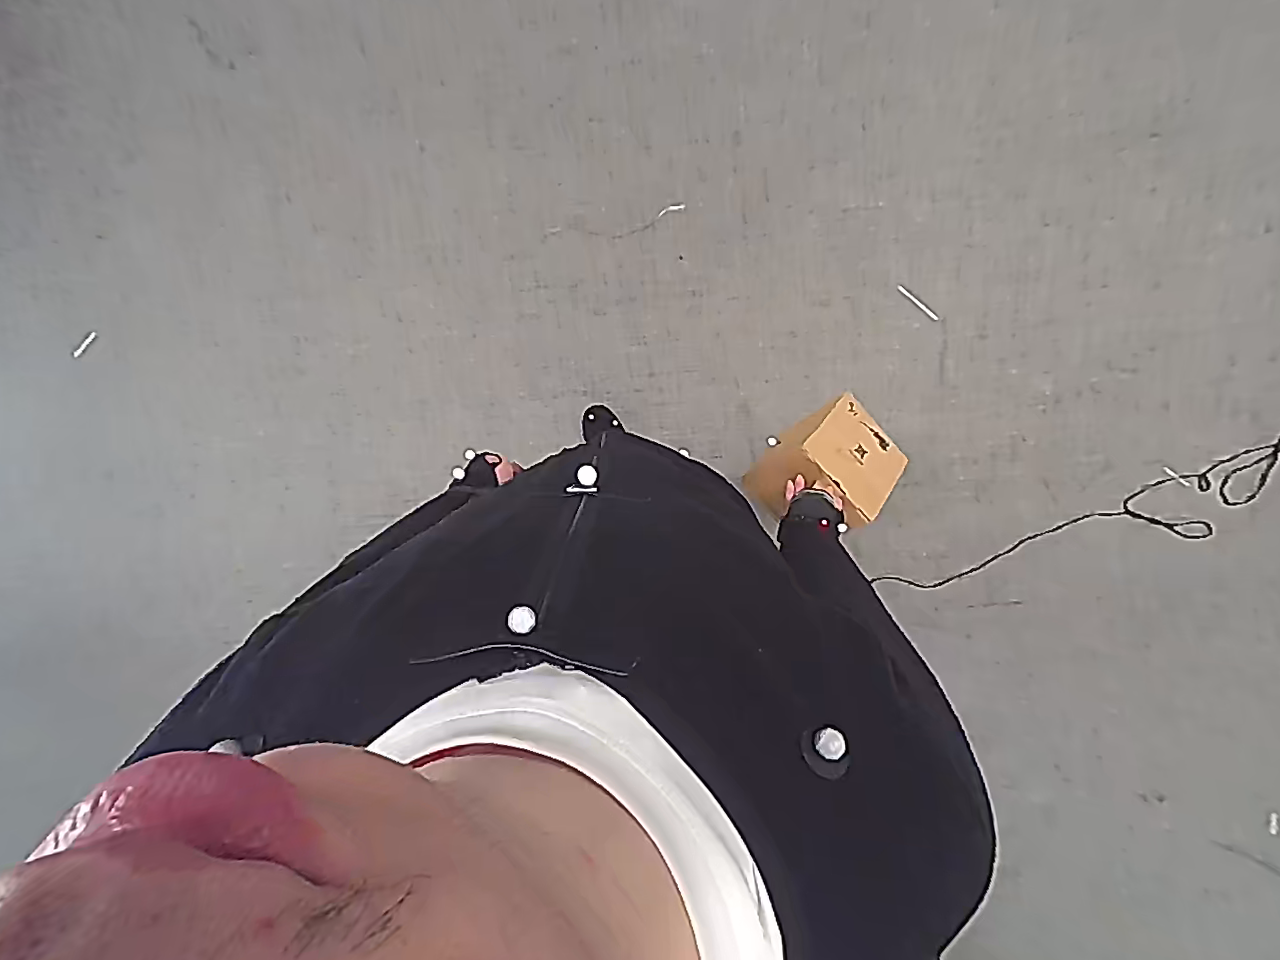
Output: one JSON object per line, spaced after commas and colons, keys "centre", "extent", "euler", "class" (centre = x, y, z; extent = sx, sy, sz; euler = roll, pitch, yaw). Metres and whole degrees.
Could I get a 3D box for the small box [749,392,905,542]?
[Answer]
{"centre": [0.320, -0.016, 0.953], "extent": [0.168, 0.176, 0.179], "euler": [46, 58, -3], "class": "small box"}
